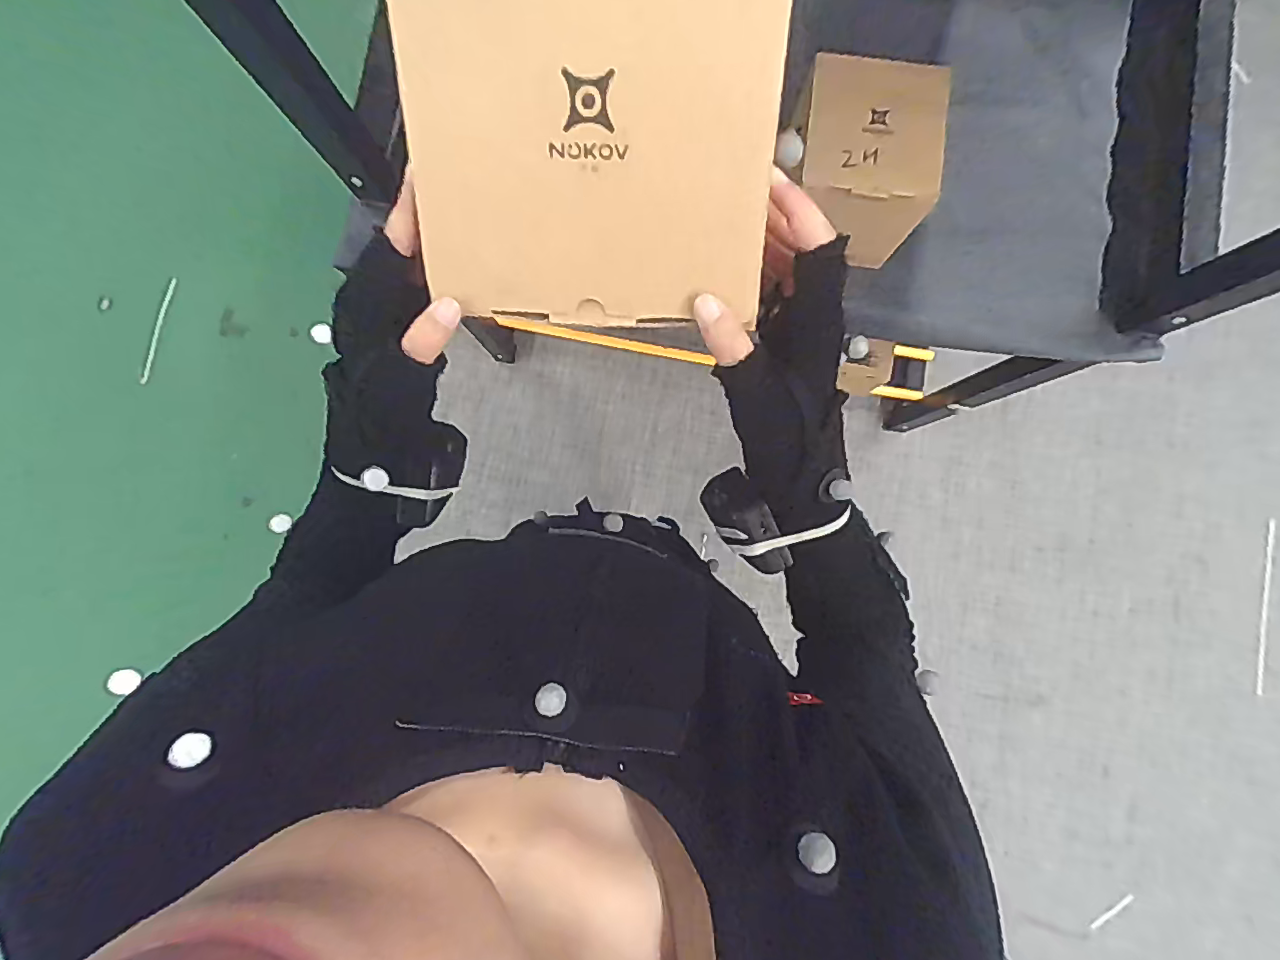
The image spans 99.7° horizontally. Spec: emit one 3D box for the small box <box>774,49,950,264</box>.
[{"bbox_3d":[0.288,-0.424,0.732,0.168,0.176,0.179,8,84,1],"label":"small box"}]
